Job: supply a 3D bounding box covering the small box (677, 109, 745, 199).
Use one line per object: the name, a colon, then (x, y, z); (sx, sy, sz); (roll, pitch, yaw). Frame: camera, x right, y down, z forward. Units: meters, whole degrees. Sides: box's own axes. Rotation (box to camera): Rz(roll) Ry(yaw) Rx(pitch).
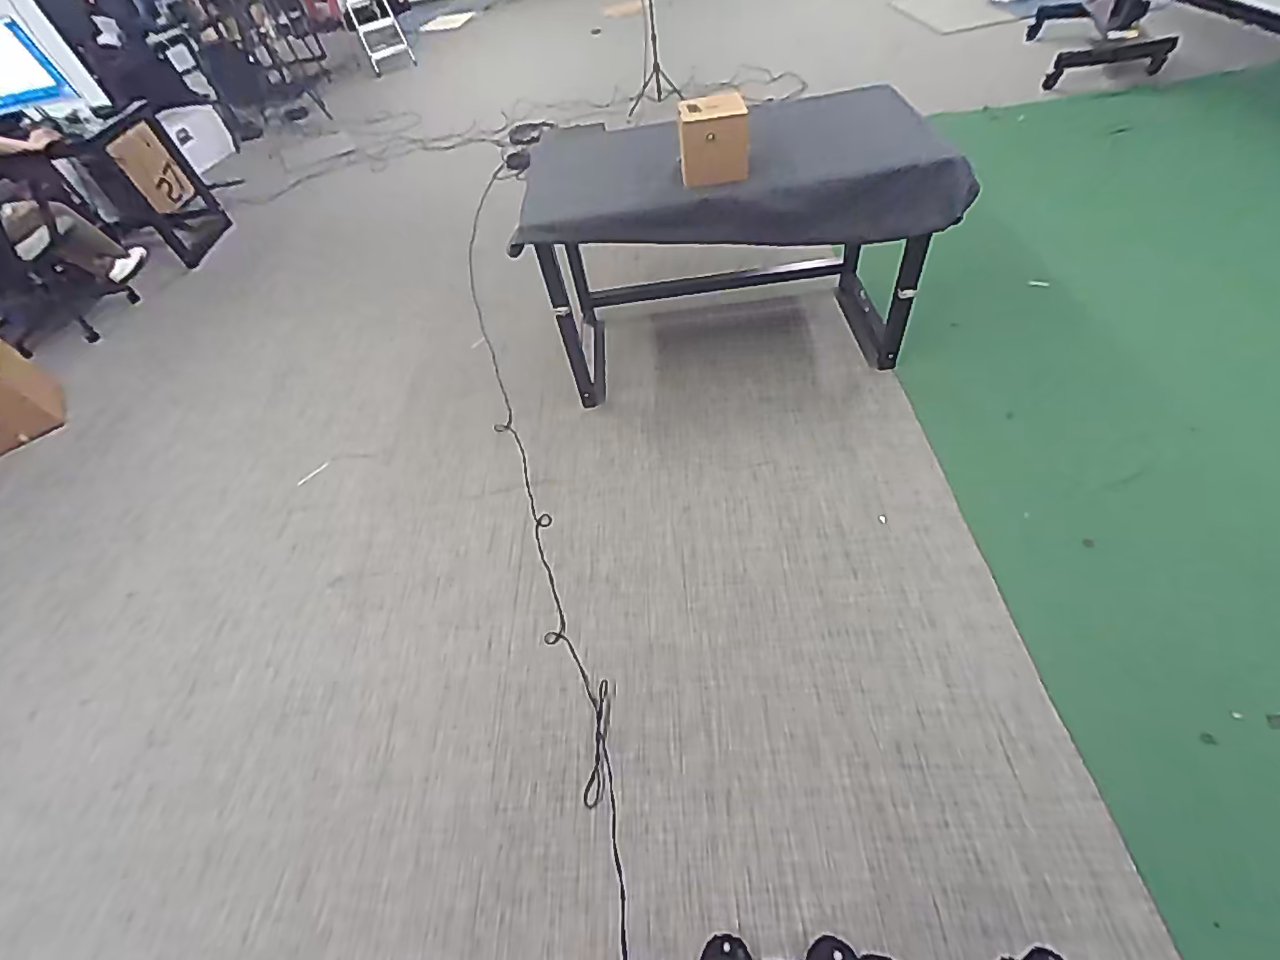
small box: (0.202, -0.920, 1.536); (0.179, 0.176, 0.168); (-5, 51, 5)
